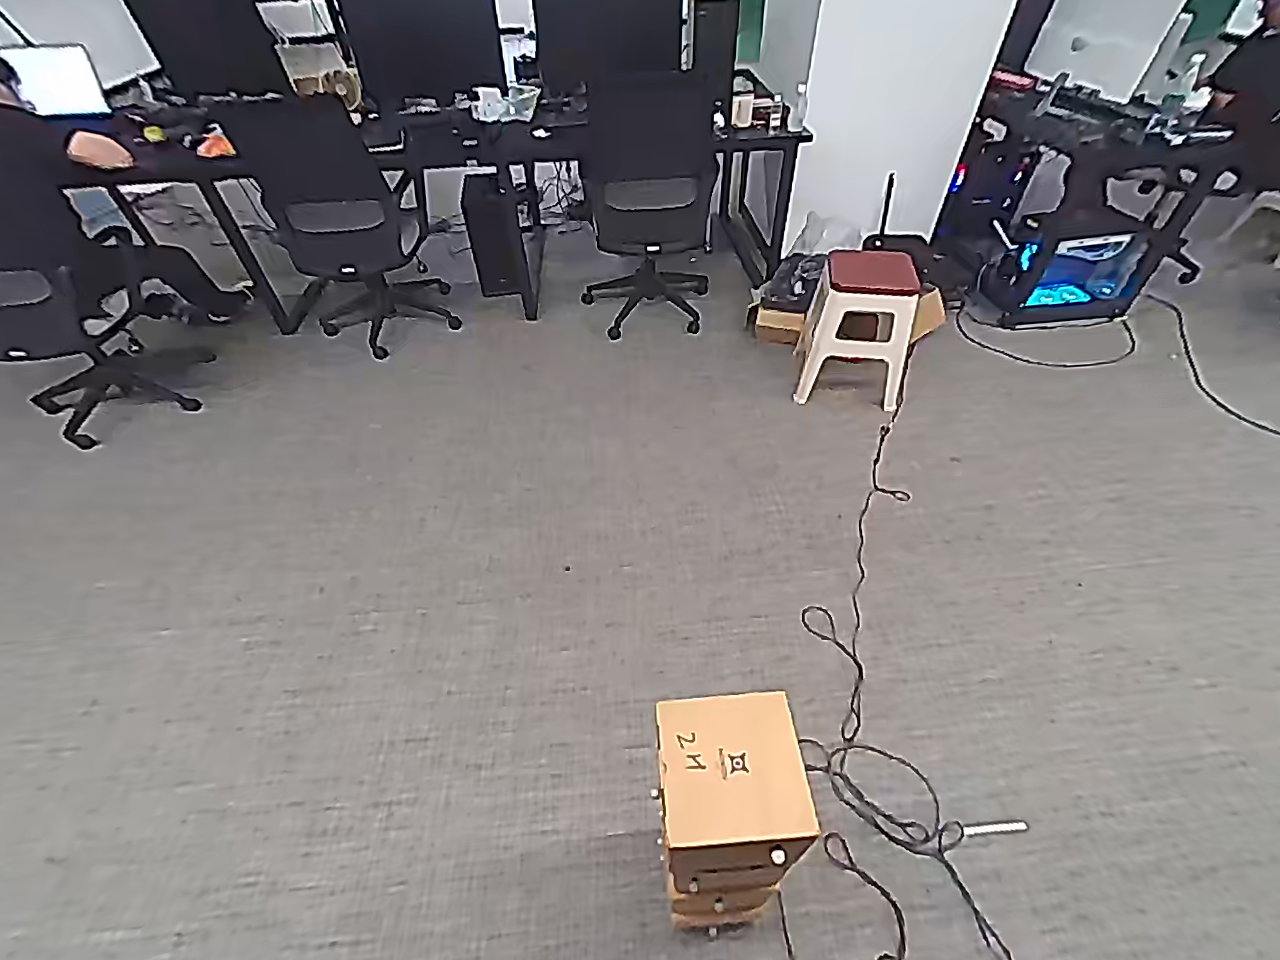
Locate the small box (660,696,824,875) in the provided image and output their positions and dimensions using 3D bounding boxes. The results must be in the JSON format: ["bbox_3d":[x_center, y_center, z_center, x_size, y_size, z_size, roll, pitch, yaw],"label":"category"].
[{"bbox_3d":[0.121,0.405,0.714,0.179,0.176,0.168,-5,45,1],"label":"small box"}]

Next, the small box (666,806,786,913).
[{"bbox_3d":[0.138,0.640,0.945,0.179,0.176,0.168,-6,47,0],"label":"small box"}]

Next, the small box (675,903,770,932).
[{"bbox_3d":[0.146,0.759,1.055,0.168,0.176,0.179,-5,47,0],"label":"small box"}]
